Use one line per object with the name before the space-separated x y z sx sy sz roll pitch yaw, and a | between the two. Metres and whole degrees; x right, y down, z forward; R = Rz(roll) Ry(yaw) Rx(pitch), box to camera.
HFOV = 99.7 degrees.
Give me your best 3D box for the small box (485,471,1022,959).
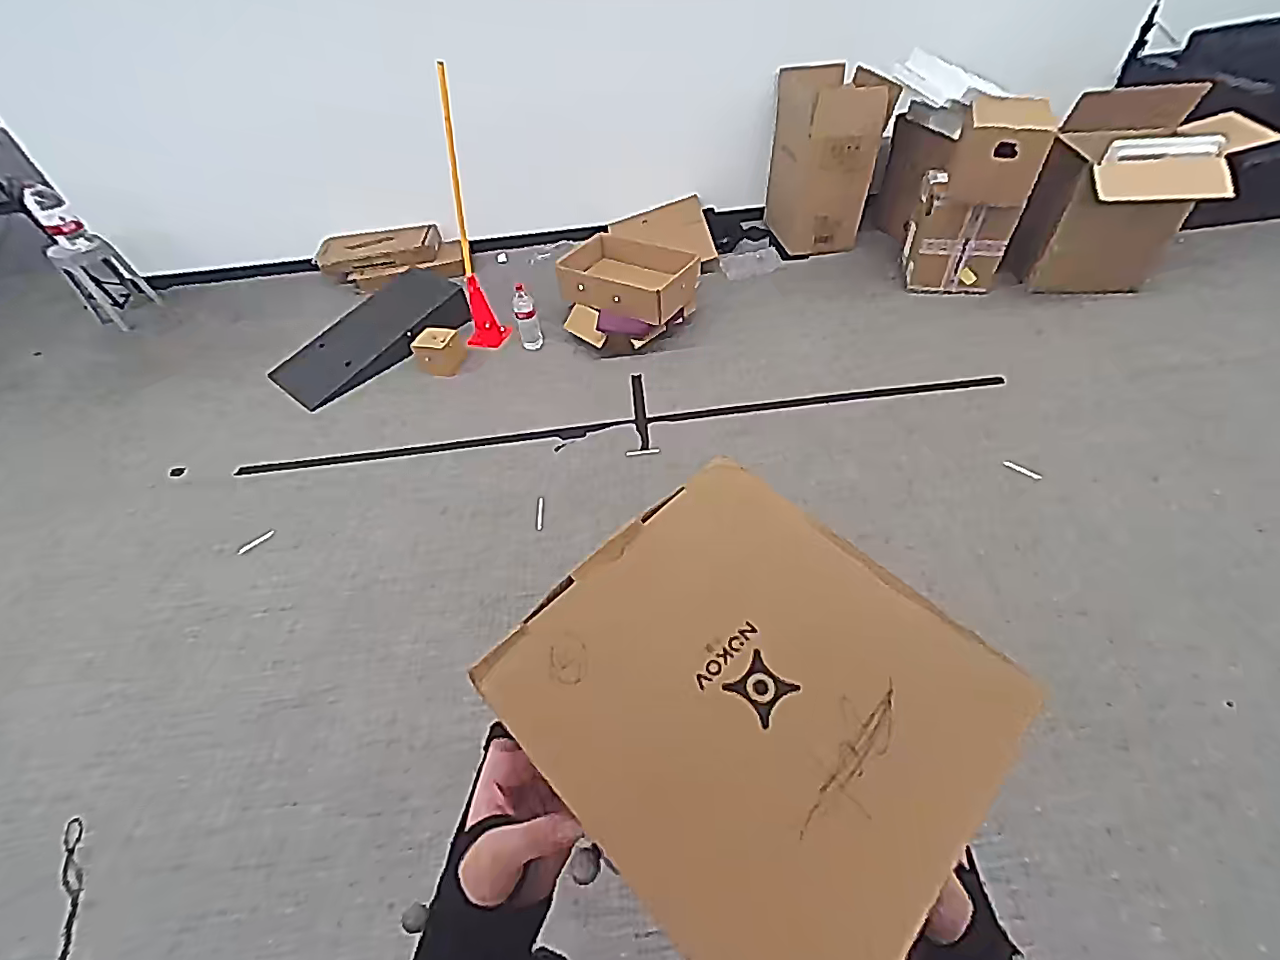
small box | 0.047 0.135 0.298 0.179 0.176 0.168 39 63 24
